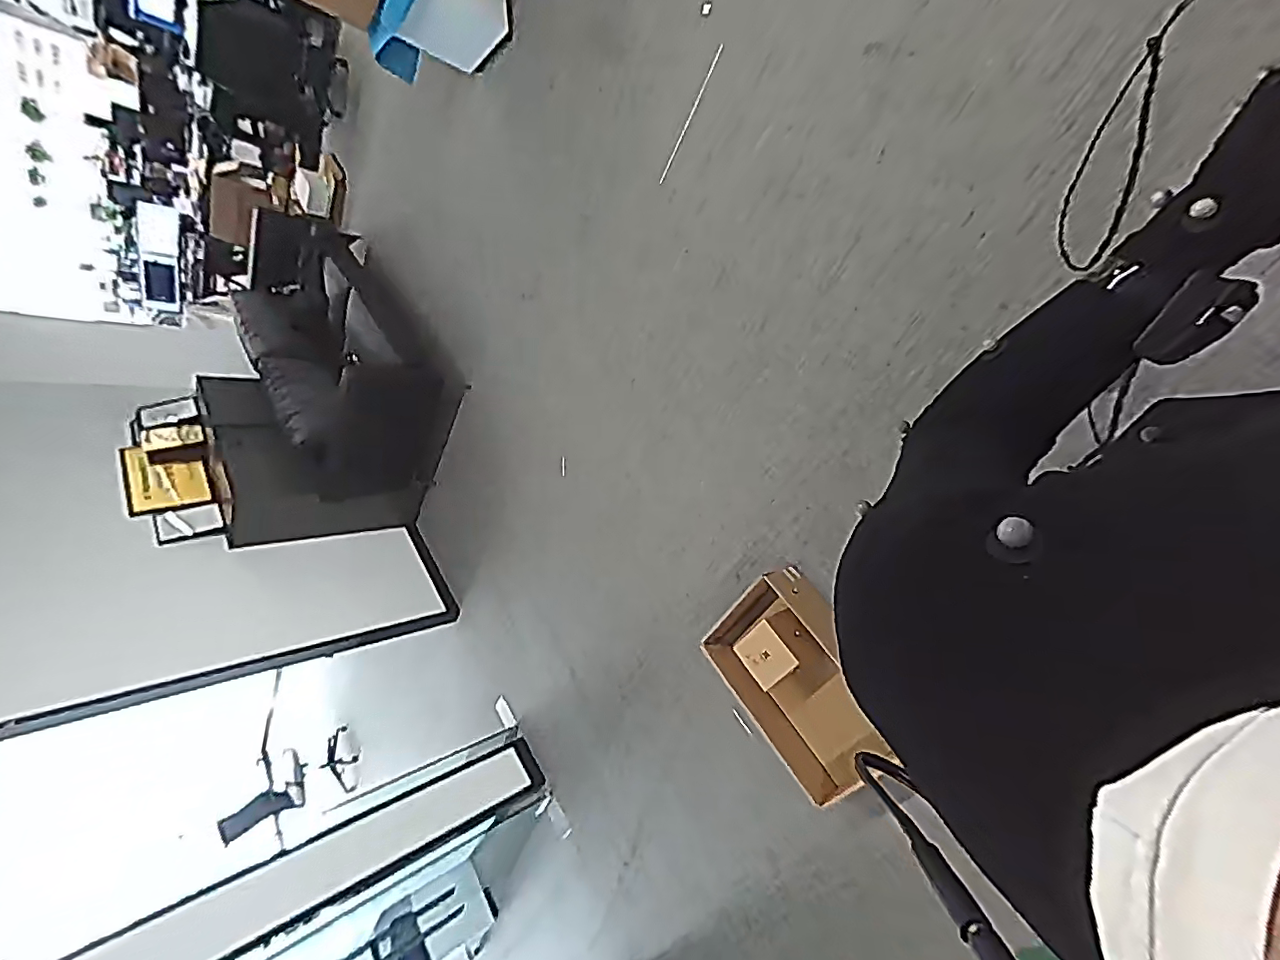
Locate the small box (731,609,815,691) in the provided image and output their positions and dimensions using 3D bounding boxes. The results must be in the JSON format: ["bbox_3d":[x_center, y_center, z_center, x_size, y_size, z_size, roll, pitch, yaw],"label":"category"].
[{"bbox_3d":[0.437,0.543,1.748,0.168,0.176,0.179,53,126,27],"label":"small box"}]
